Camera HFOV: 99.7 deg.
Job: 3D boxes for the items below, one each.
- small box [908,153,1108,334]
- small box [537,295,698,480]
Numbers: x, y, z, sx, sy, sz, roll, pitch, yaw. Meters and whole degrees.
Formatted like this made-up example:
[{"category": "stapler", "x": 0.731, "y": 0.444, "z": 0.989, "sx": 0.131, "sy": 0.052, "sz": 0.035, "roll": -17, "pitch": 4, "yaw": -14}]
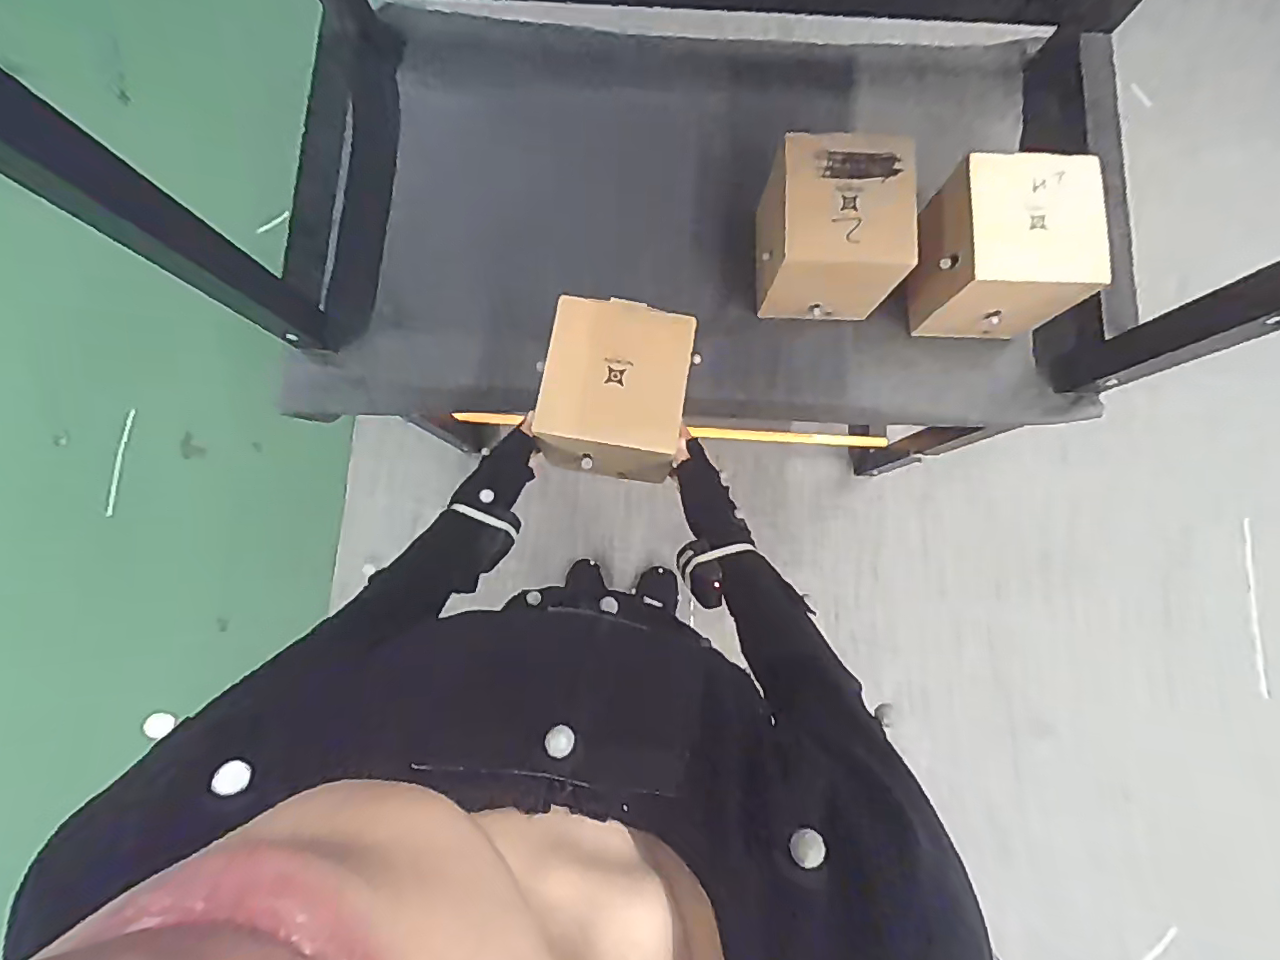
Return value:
[{"category": "small box", "x": 0.493, "y": -0.315, "z": 0.751, "sx": 0.168, "sy": 0.176, "sz": 0.179, "roll": 2, "pitch": 81, "yaw": 0}, {"category": "small box", "x": -0.026, "y": -0.107, "z": 0.701, "sx": 0.168, "sy": 0.176, "sz": 0.179, "roll": 9, "pitch": 77, "yaw": -1}]
